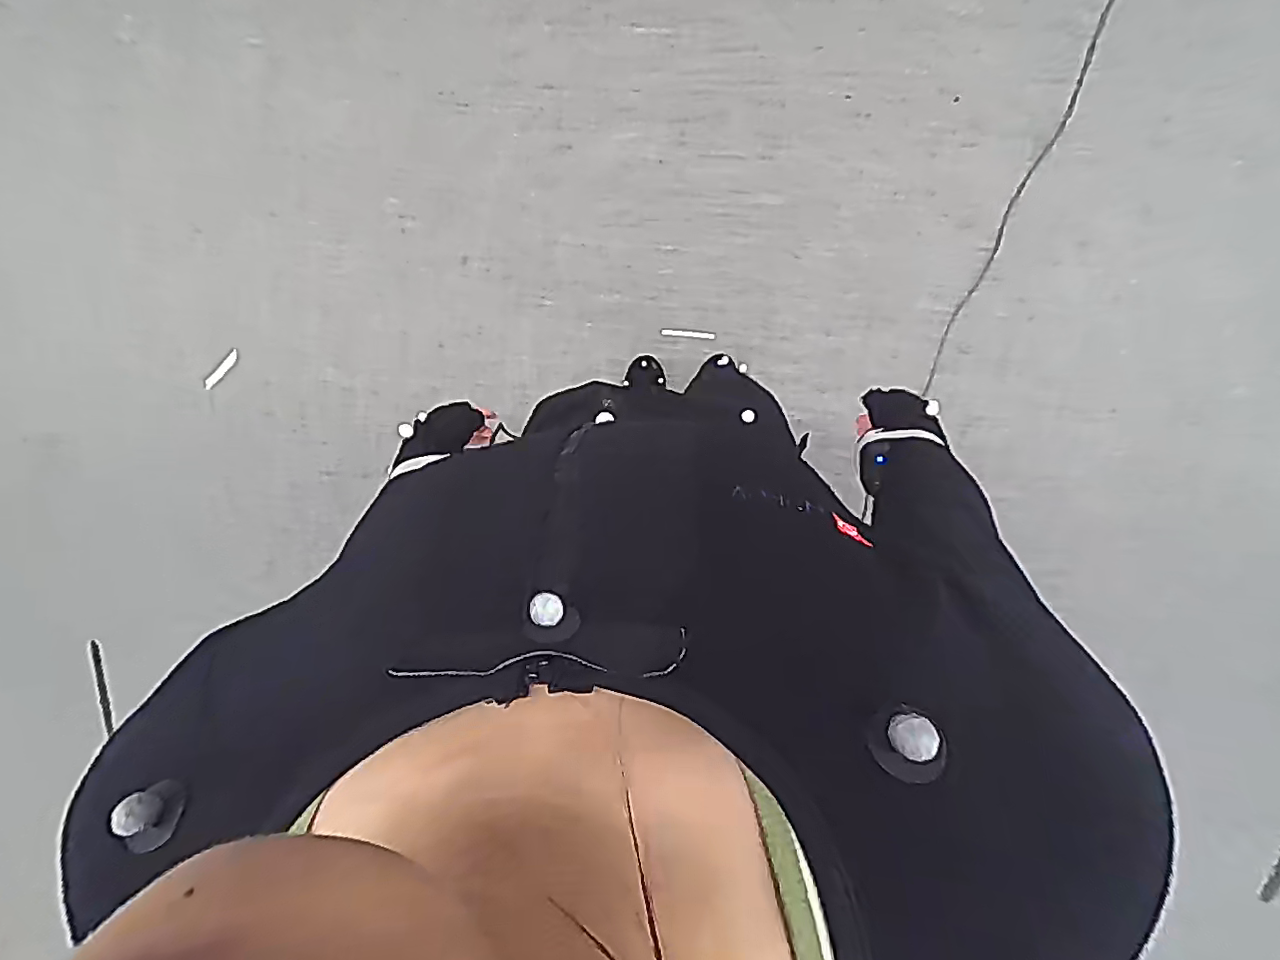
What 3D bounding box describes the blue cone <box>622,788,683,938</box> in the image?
[{"bbox_3d":[0.026,1.095,1.547,0.193,0.380,0.192,5,103,4],"label":"blue cone"}]
